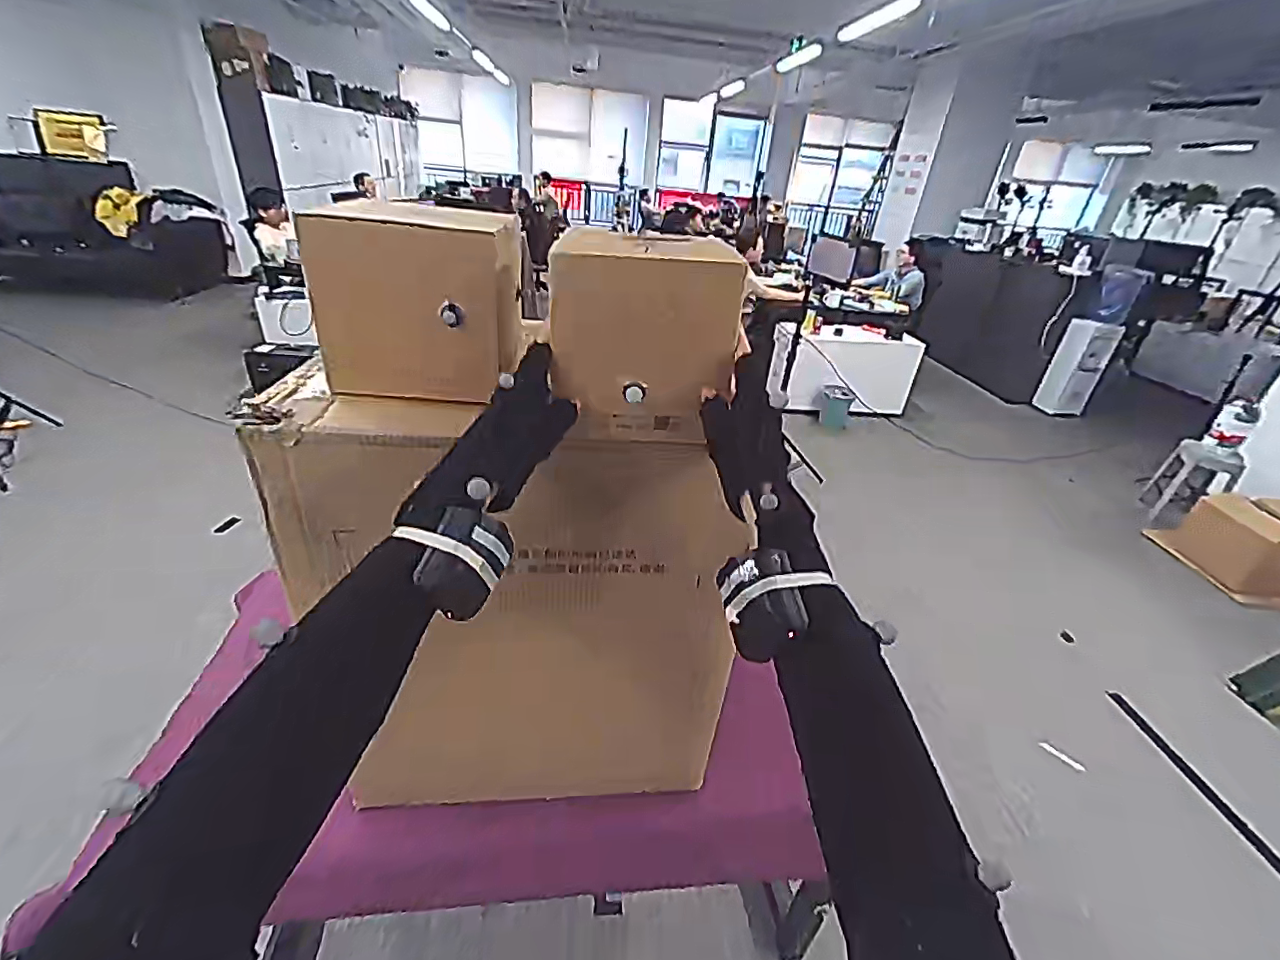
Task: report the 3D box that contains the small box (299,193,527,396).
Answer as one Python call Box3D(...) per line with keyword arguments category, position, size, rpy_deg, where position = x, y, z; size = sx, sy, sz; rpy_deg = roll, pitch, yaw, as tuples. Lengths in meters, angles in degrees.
Box3D(category="small box", position=(-0.217, -0.198, 0.576), size=(0.179, 0.176, 0.168), rpy_deg=(3, 30, -5))

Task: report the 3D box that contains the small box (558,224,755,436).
Box3D(category="small box", position=(0.007, -0.157, 0.550), size=(0.168, 0.176, 0.179), rpy_deg=(1, 29, -3))
